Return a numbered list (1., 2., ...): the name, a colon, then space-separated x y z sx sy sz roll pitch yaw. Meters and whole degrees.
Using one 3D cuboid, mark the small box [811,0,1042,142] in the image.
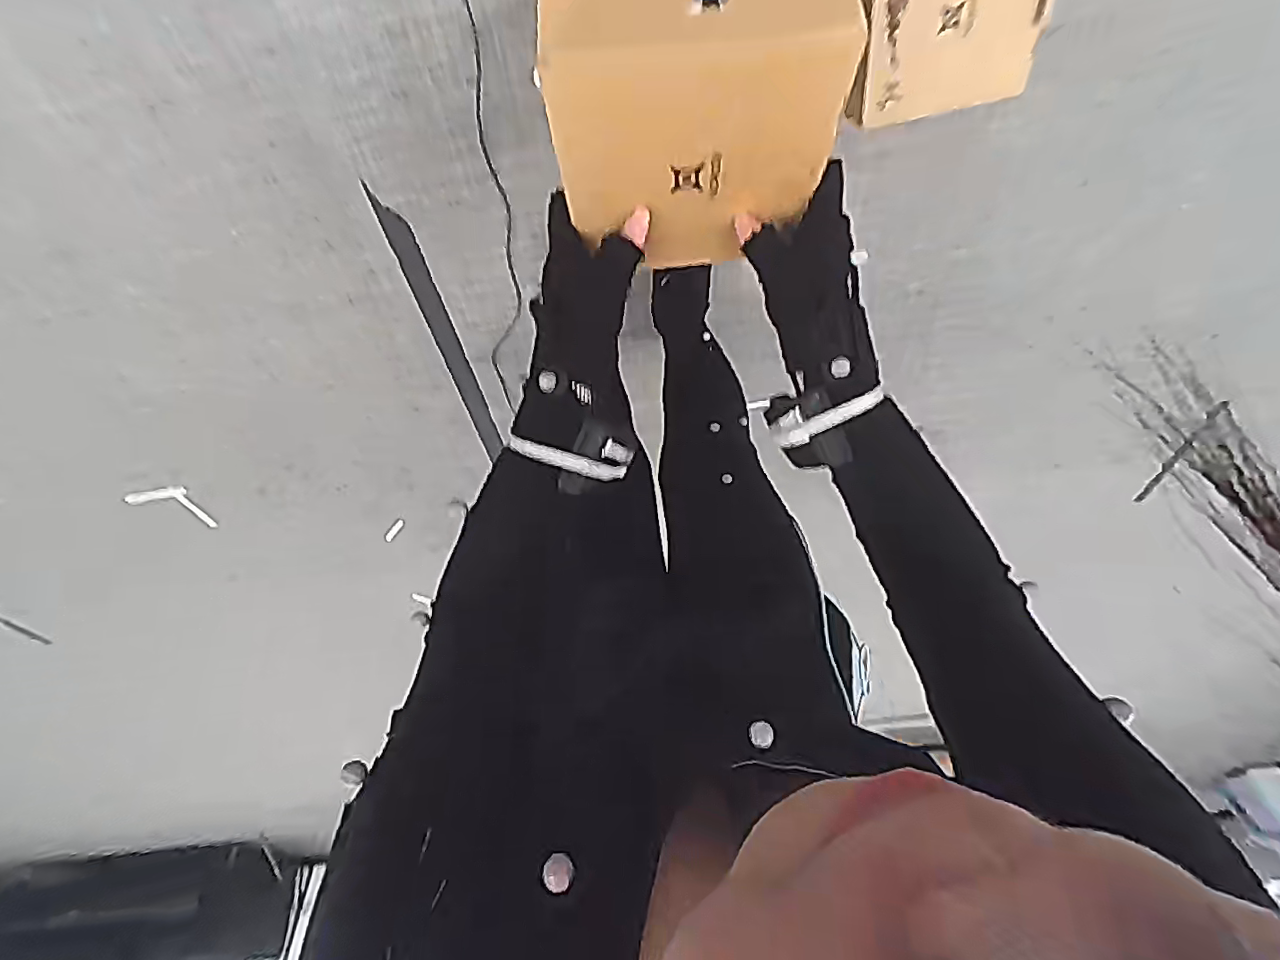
1. small box: 0.305 -0.506 0.598 0.179 0.176 0.168 -10 136 4
